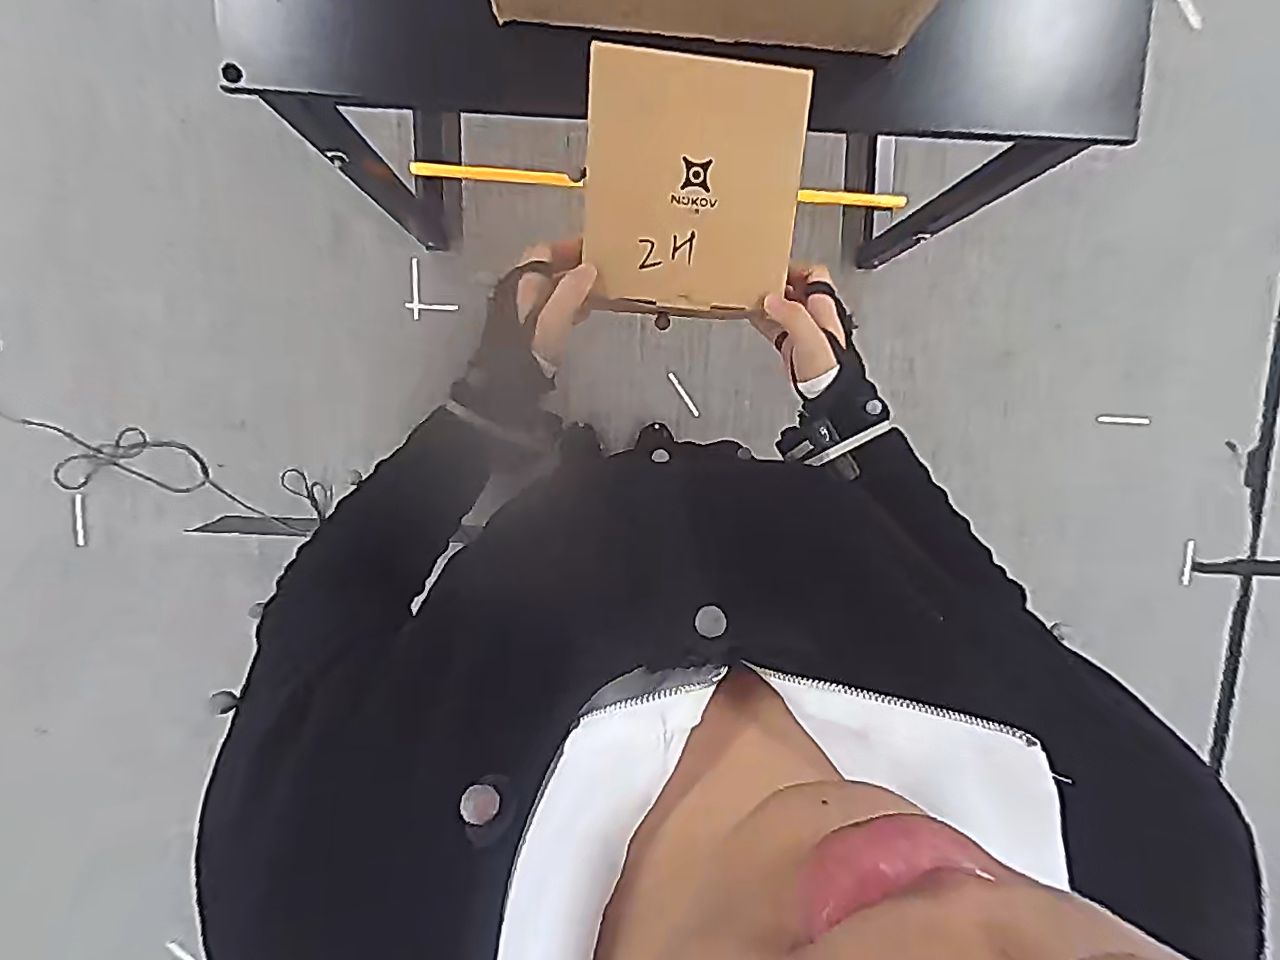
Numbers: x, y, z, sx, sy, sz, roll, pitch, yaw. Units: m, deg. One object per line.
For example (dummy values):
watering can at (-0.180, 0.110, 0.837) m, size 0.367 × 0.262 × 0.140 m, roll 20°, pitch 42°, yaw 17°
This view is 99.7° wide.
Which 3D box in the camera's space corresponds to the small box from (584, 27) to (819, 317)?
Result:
small box at (0.037, -0.247, 0.482) m, size 0.168 × 0.176 × 0.179 m, roll 3°, pitch 104°, yaw -5°
